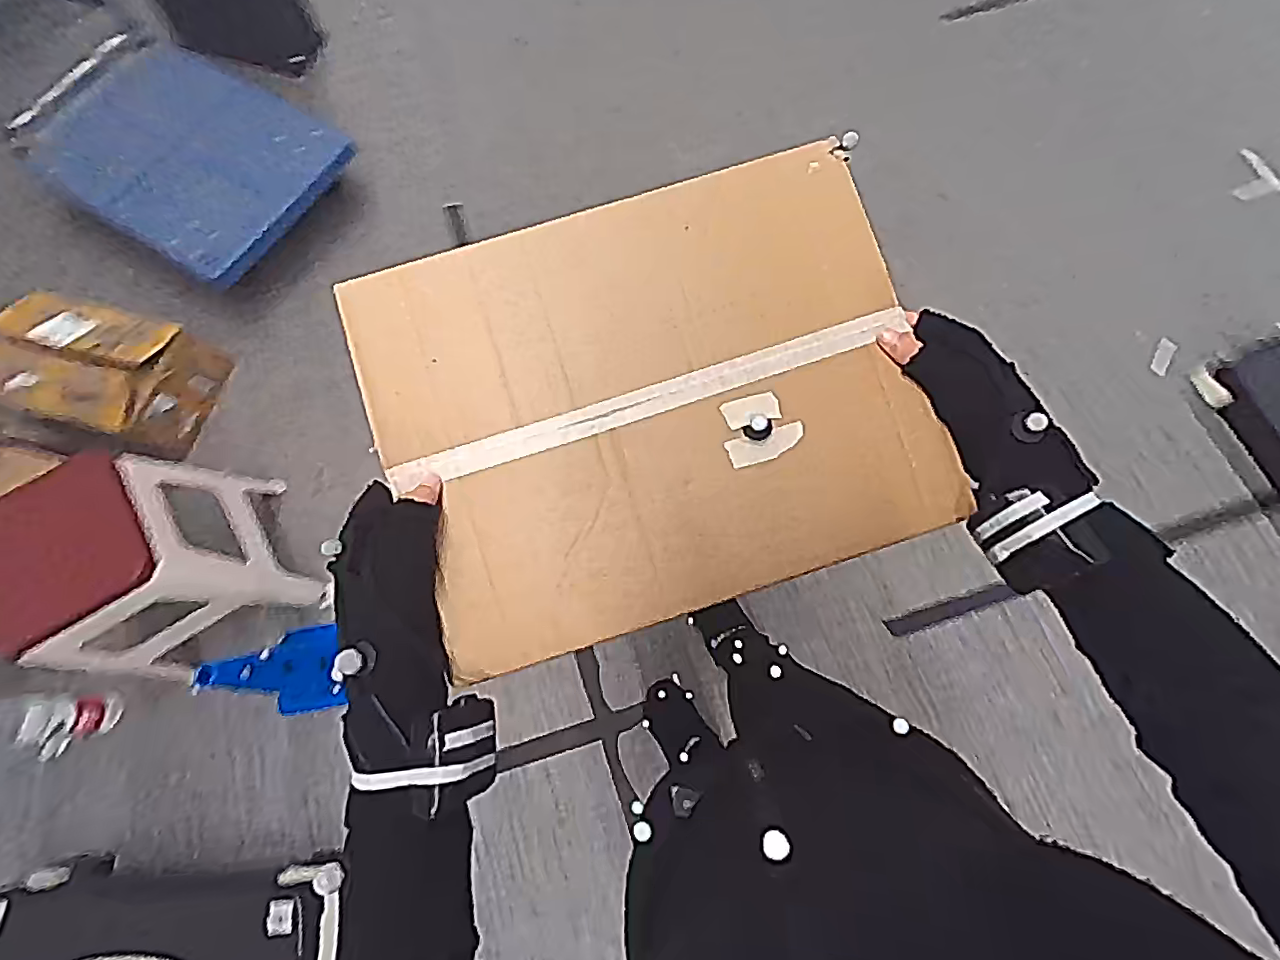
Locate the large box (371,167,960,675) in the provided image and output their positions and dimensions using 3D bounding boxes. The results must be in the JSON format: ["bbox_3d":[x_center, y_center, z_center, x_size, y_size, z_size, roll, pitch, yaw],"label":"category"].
[{"bbox_3d":[0.014,-0.040,0.572,0.408,0.320,0.320,-17,85,-3],"label":"large box"}]
